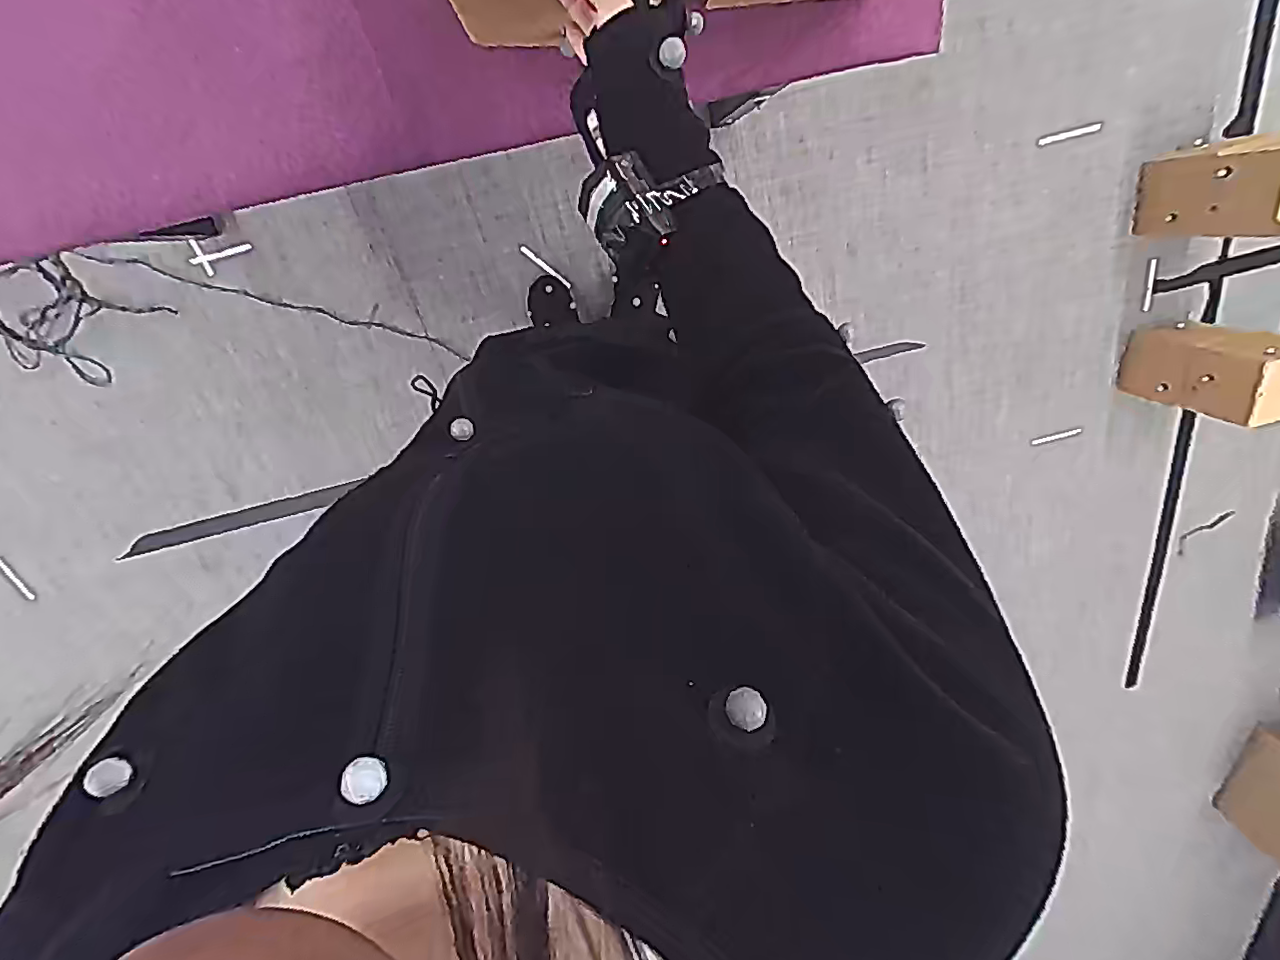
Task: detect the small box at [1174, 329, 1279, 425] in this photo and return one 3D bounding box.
[{"bbox_3d":[1.487,-0.258,1.324,0.179,0.176,0.168,-15,117,0],"label":"small box"}]

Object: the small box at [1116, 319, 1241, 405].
[{"bbox_3d":[1.455,-0.324,1.470,0.168,0.176,0.179,-11,117,-2],"label":"small box"}]

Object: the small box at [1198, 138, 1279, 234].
[{"bbox_3d":[1.346,-0.620,1.133,0.179,0.176,0.168,-15,116,-2],"label":"small box"}]

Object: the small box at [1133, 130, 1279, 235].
[{"bbox_3d":[1.326,-0.695,1.279,0.168,0.176,0.179,-18,115,0],"label":"small box"}]

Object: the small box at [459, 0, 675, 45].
[{"bbox_3d":[-0.058,-0.449,0.399,0.179,0.176,0.168,-4,115,-6],"label":"small box"}]
